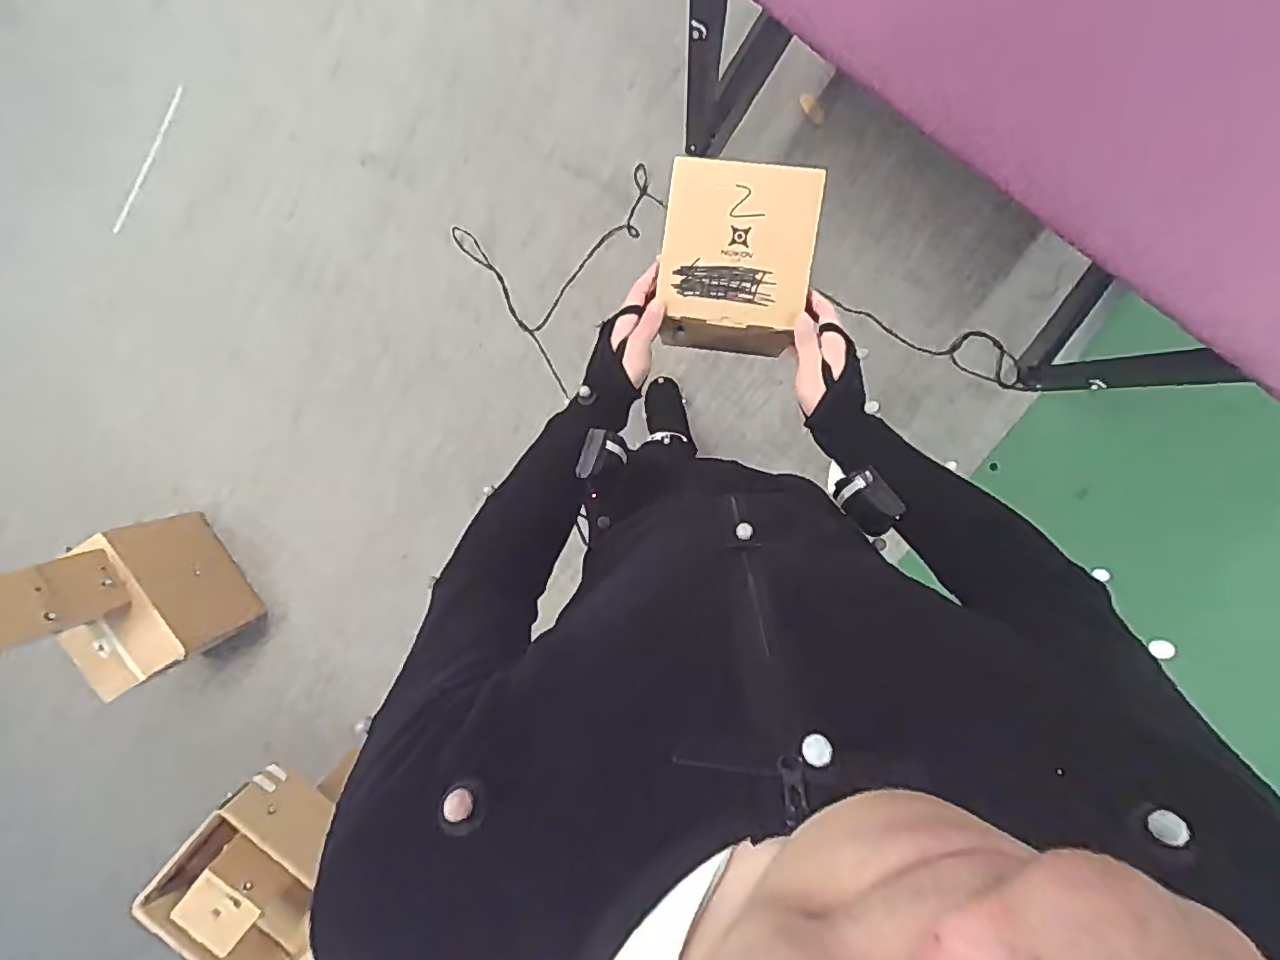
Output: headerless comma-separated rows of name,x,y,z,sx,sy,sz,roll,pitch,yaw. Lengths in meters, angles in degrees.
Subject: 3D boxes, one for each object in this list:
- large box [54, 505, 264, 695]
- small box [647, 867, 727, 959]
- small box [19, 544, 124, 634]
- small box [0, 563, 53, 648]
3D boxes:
large box,-1.469,0.342,1.630,0.320,0.320,0.408,-31,97,8
small box,0.126,1.159,1.402,0.168,0.176,0.179,-17,96,7
small box,-1.495,0.284,1.375,0.179,0.176,0.168,-25,97,5
small box,-1.494,0.308,1.213,0.179,0.176,0.168,-24,97,6
